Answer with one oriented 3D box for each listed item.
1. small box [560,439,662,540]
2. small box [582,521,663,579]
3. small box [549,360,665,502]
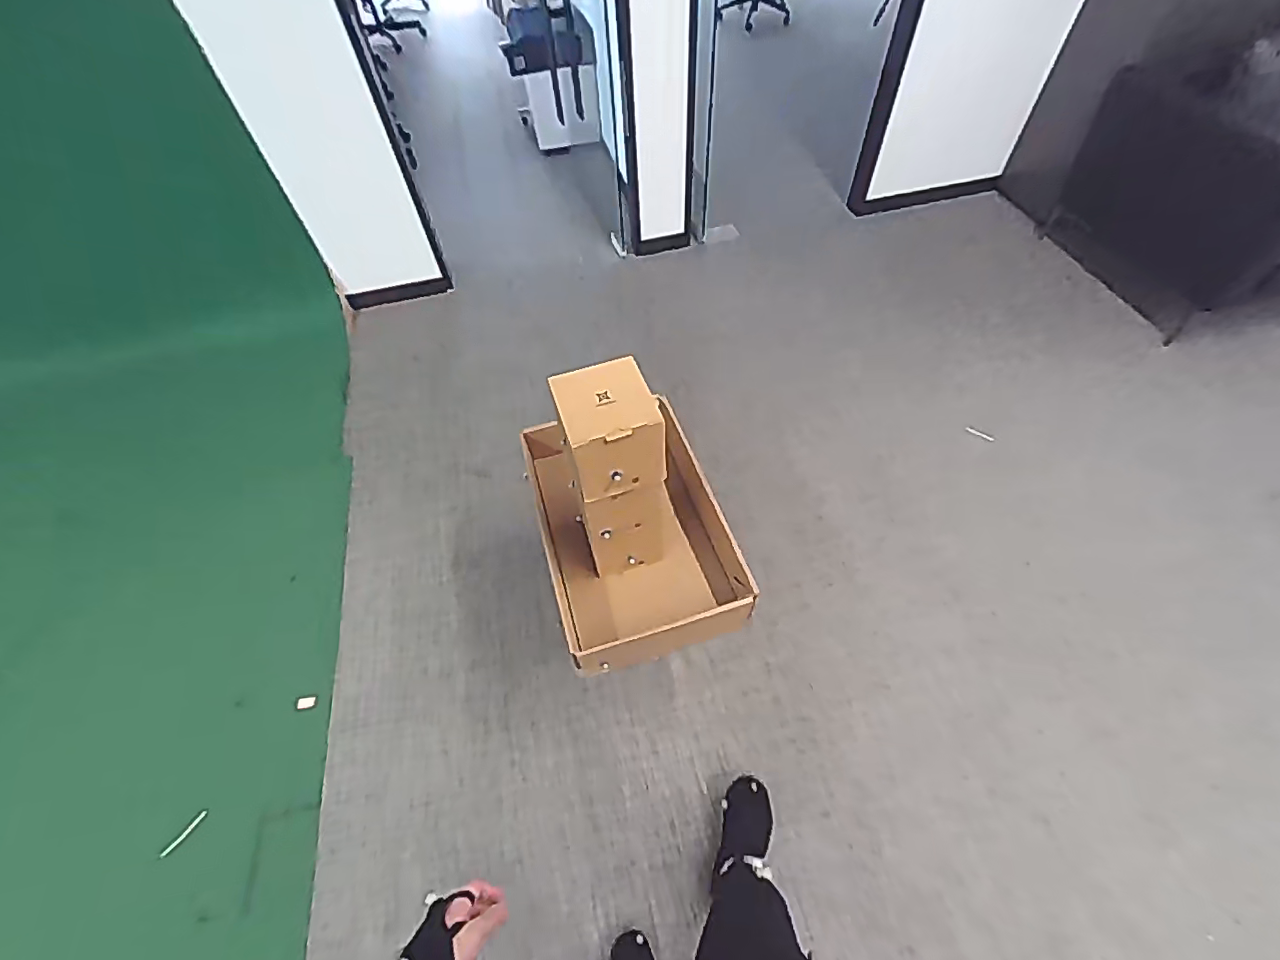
[{"bbox_3d":[-0.057,0.005,1.132,0.168,0.176,0.179,-17,53,-9],"label":"small box"},{"bbox_3d":[-0.048,0.102,1.263,0.168,0.176,0.179,-16,54,-7],"label":"small box"},{"bbox_3d":[-0.060,-0.088,0.999,0.168,0.176,0.179,-17,55,-10],"label":"small box"}]
